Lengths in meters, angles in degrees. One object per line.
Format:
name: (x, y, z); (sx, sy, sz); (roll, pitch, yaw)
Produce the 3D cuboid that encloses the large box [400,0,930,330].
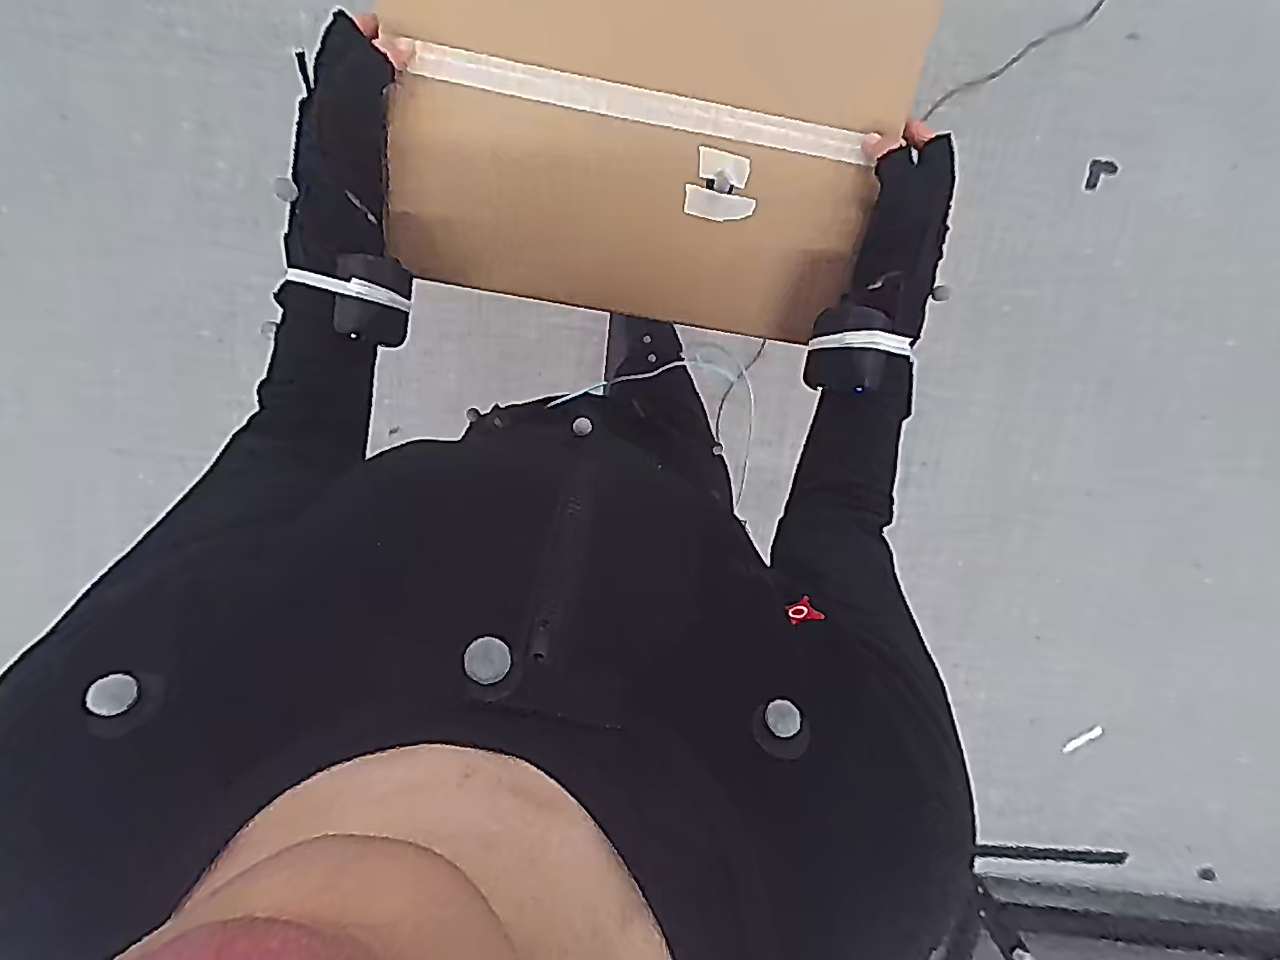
large box: (0.004, -0.362, 0.569); (0.408, 0.320, 0.320); (8, 114, -6)
